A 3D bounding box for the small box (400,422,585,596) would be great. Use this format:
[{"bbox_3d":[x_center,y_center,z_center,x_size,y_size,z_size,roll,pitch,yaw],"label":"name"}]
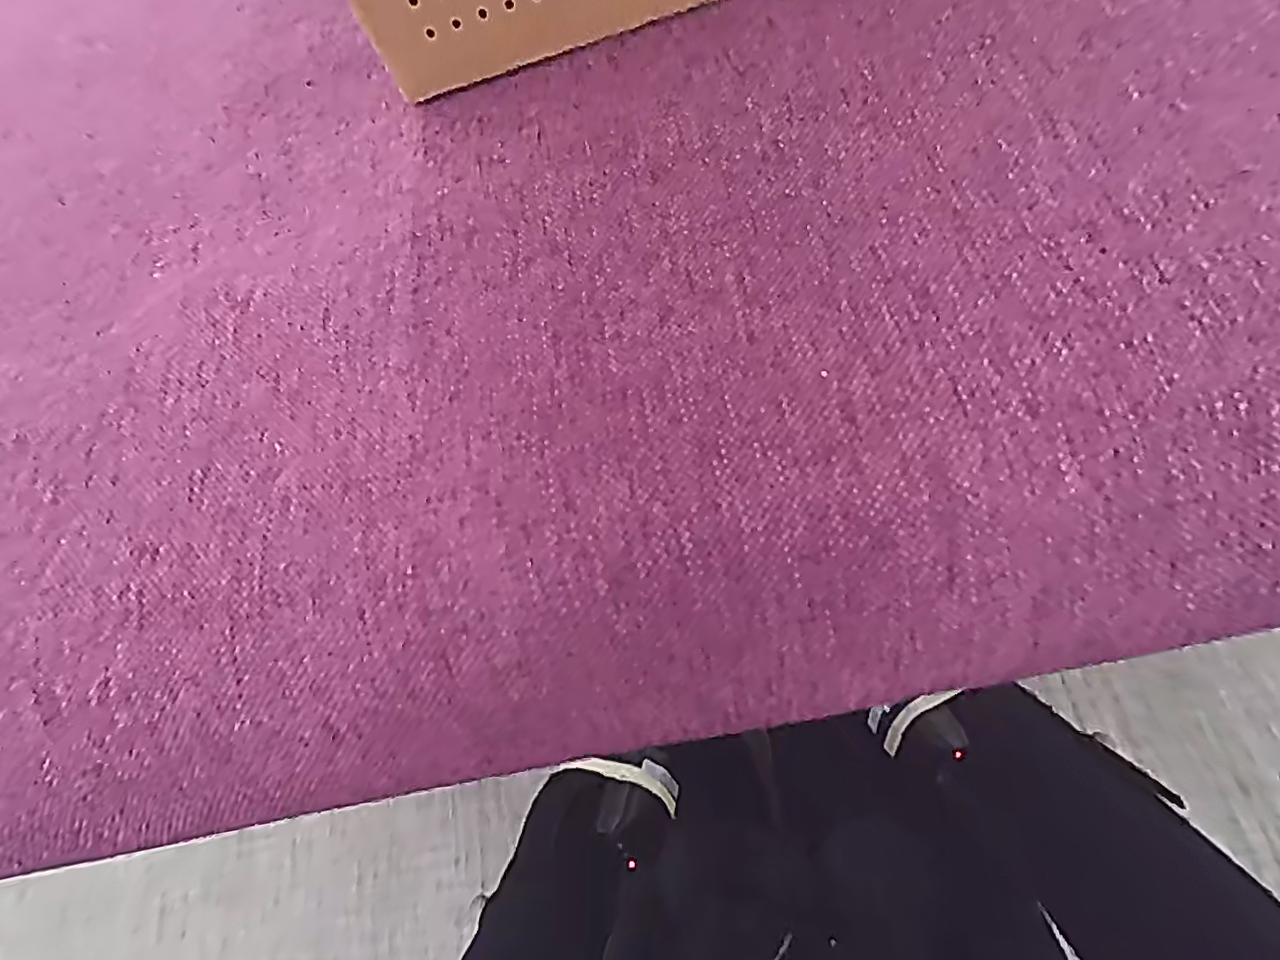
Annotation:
[{"bbox_3d":[-0.177,0.047,0.692,0.179,0.176,0.168,-14,72,6],"label":"small box"}]
